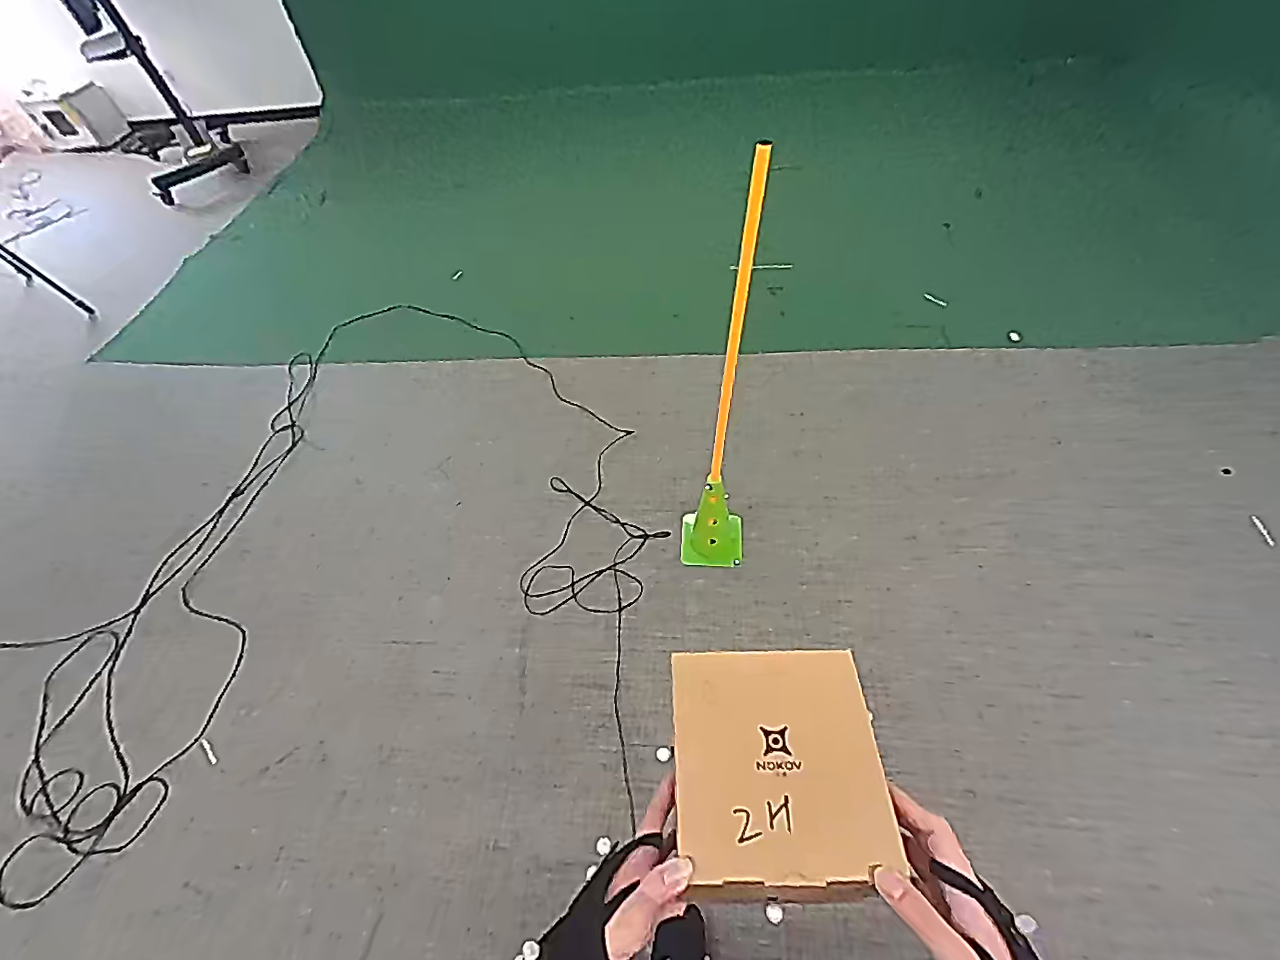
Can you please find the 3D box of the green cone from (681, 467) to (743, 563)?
[{"bbox_3d":[0.223,0.082,1.668,0.202,0.368,0.200,1,53,7],"label":"green cone"}]
